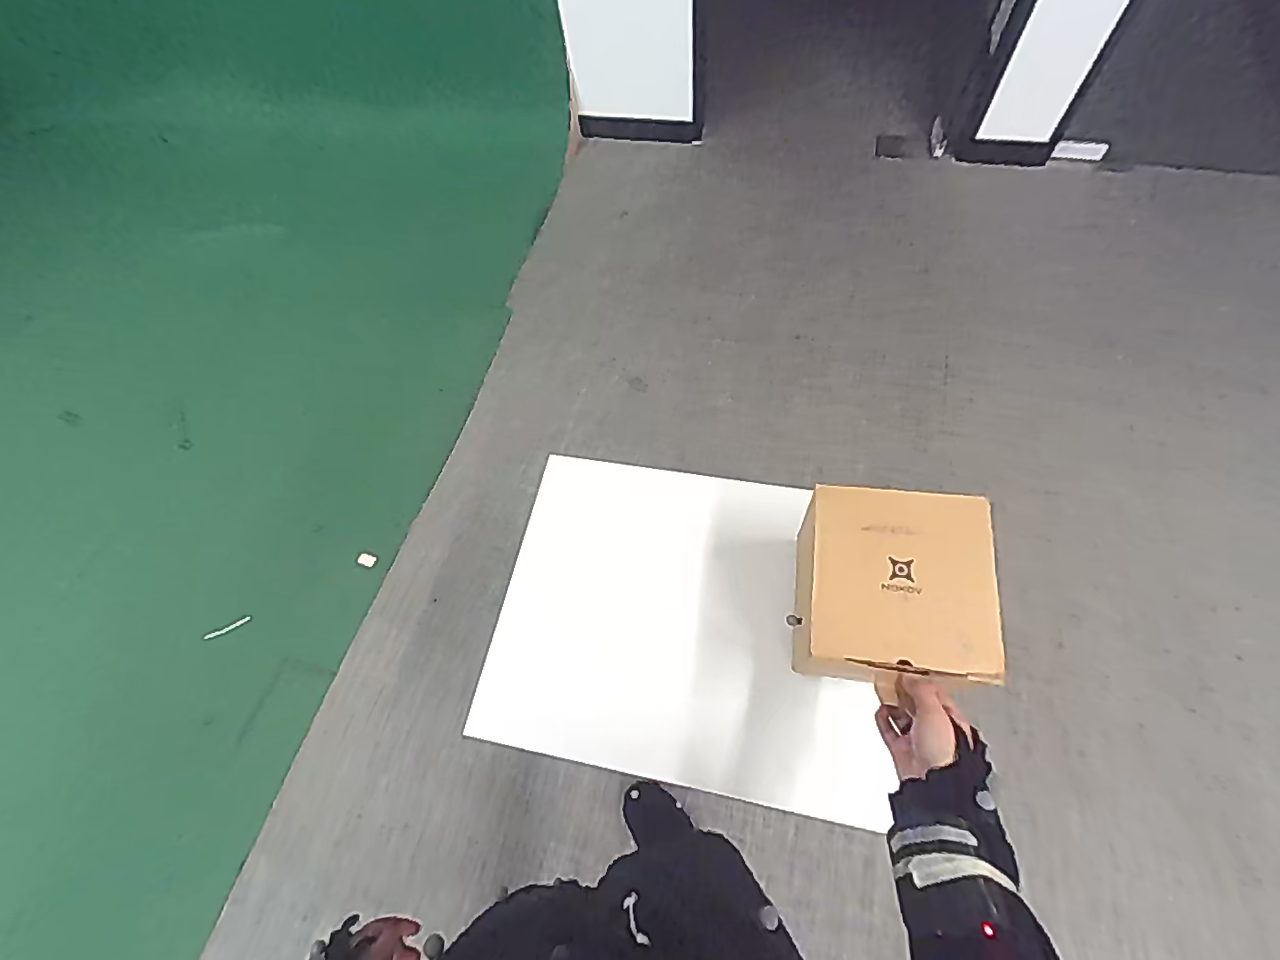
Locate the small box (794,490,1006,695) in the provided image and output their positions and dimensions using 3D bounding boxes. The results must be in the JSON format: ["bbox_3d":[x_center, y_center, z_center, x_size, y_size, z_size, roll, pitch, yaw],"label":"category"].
[{"bbox_3d":[0.262,0.128,0.585,0.168,0.176,0.179,4,65,11],"label":"small box"}]
